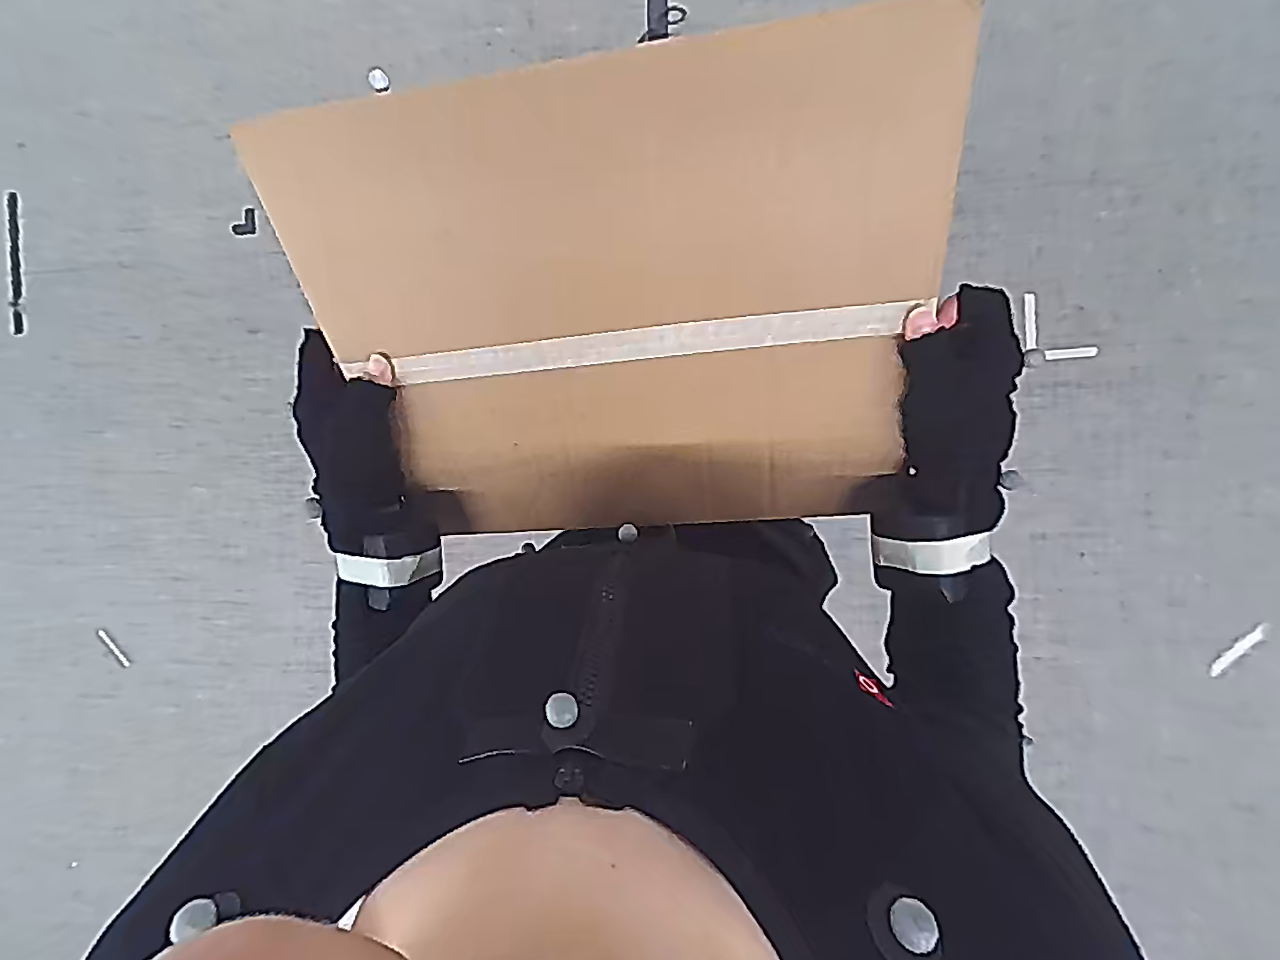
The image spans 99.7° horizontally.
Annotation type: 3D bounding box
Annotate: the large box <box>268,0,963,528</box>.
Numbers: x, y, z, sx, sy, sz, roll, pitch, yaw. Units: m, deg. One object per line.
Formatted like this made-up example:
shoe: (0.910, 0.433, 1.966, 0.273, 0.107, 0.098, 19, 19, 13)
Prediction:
large box: (-0.001, -0.179, 0.500, 0.408, 0.320, 0.320, -4, 125, 9)
